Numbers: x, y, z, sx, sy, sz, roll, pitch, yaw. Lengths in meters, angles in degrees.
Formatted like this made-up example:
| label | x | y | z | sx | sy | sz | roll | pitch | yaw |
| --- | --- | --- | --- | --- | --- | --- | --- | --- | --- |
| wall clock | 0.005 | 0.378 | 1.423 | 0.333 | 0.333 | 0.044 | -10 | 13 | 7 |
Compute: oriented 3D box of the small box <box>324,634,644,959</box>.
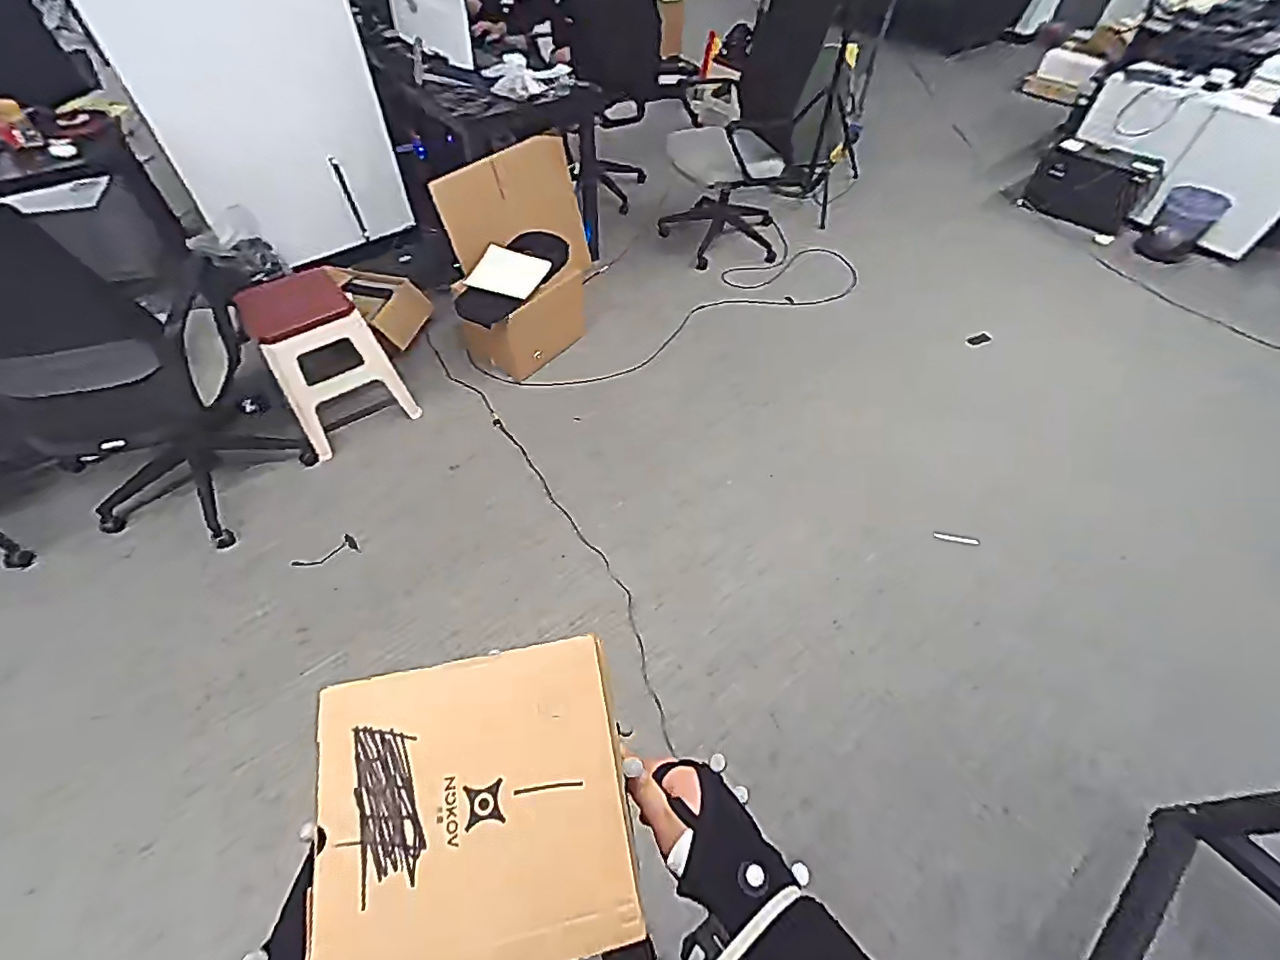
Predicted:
| label | x | y | z | sx | sy | sz | roll | pitch | yaw |
| --- | --- | --- | --- | --- | --- | --- | --- | --- | --- |
| small box | -0.097 | 0.224 | 0.395 | 0.179 | 0.176 | 0.168 | -9 | 65 | -7 |
